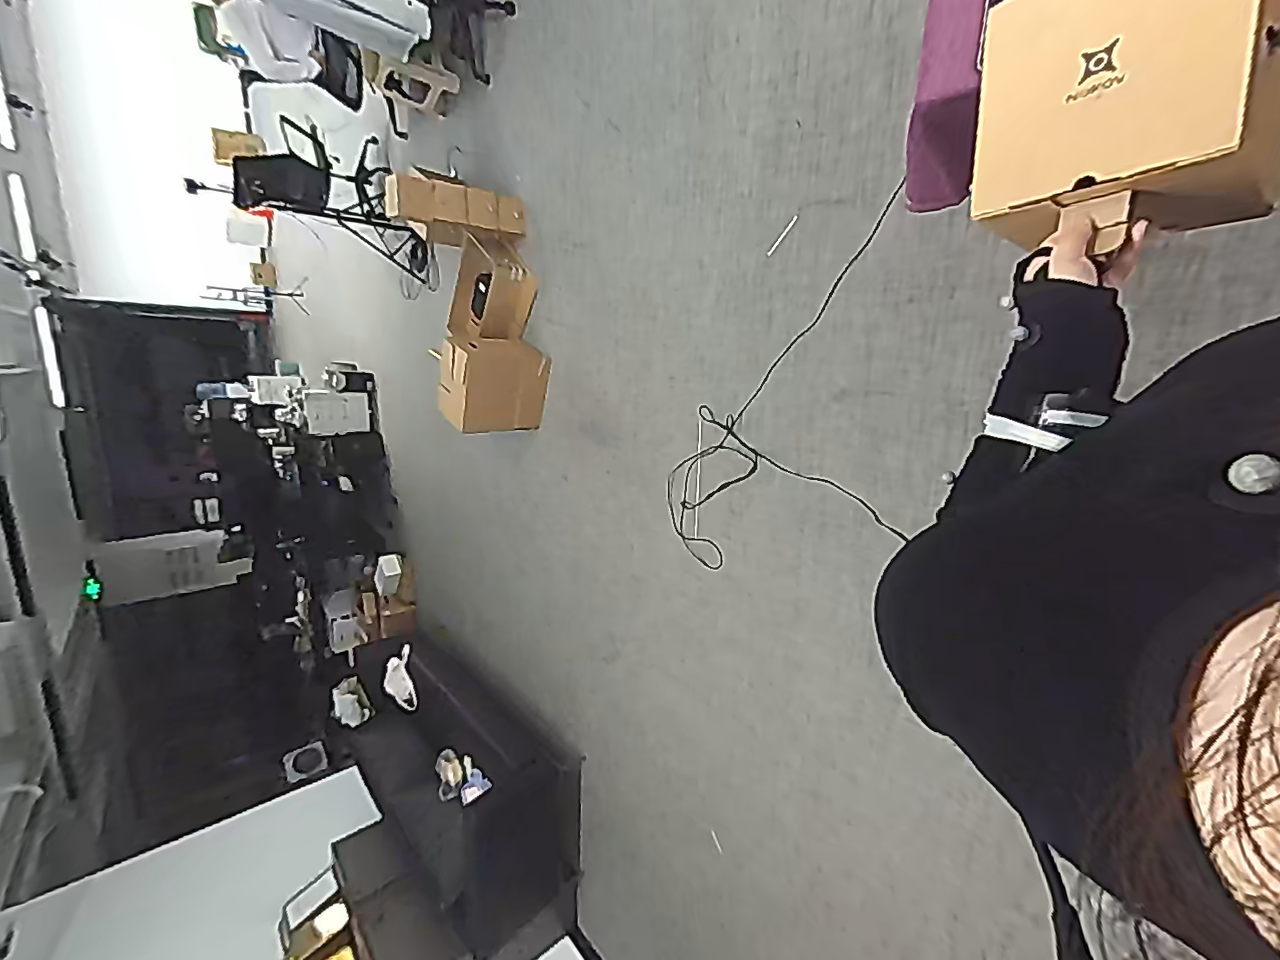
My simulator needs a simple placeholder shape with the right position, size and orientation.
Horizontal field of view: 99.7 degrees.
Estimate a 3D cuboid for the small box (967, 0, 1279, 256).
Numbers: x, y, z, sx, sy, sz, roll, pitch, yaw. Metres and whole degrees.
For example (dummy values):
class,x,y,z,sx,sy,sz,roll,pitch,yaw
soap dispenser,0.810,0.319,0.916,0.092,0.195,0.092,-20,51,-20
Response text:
class,x,y,z,sx,sy,sz,roll,pitch,yaw
small box,0.408,-0.310,0.457,0.168,0.176,0.179,11,102,52
